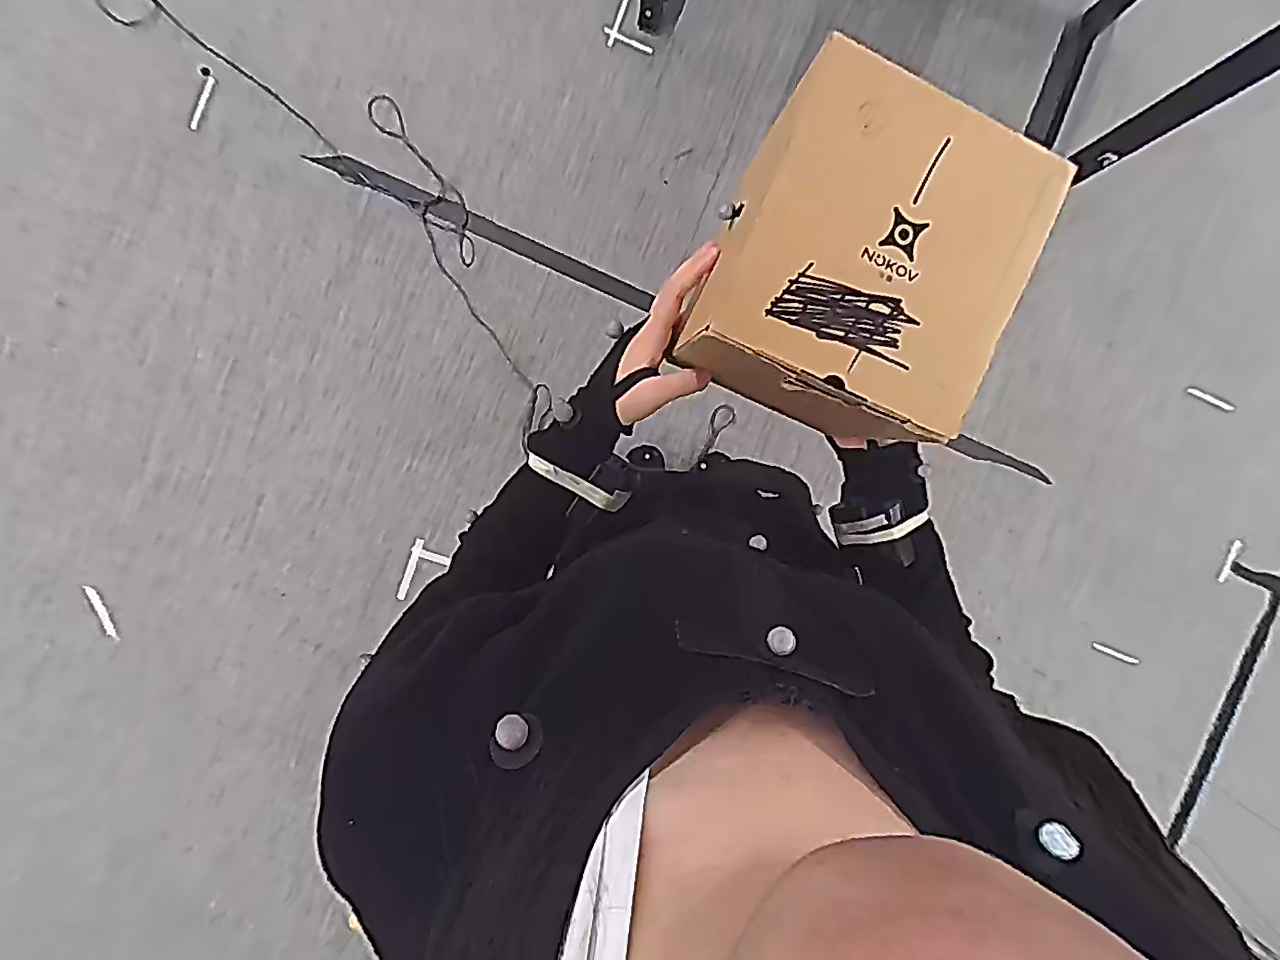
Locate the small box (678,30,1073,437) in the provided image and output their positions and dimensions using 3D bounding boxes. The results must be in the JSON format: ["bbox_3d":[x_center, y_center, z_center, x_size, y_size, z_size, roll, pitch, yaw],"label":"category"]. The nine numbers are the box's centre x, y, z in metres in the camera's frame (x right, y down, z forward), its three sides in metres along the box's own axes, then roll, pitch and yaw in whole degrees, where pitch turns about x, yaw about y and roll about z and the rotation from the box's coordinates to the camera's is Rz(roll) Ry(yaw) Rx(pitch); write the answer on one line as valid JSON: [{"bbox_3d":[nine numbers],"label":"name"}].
[{"bbox_3d":[0.136,-0.143,0.386,0.168,0.176,0.179,23,94,-8],"label":"small box"}]
